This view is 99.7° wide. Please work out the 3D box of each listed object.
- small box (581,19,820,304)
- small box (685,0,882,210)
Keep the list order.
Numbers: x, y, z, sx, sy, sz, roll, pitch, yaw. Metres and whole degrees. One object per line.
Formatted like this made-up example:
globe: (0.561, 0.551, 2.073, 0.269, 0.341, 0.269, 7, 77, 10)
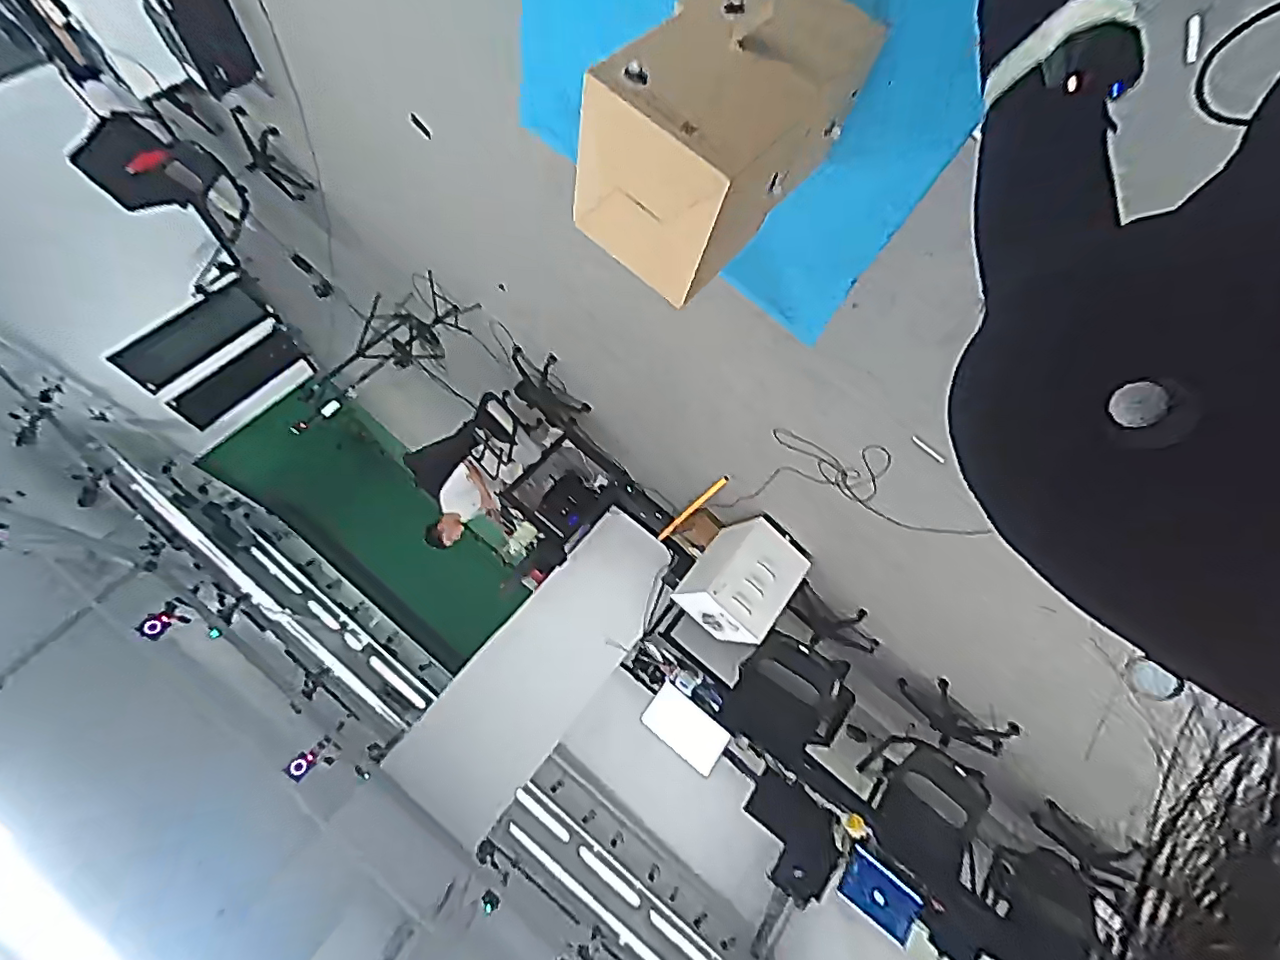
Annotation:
small box: (0.053, -0.330, 0.585, 0.168, 0.176, 0.179, 40, 158, 6)
small box: (0.147, -0.451, 0.652, 0.179, 0.176, 0.168, 39, 159, 3)
